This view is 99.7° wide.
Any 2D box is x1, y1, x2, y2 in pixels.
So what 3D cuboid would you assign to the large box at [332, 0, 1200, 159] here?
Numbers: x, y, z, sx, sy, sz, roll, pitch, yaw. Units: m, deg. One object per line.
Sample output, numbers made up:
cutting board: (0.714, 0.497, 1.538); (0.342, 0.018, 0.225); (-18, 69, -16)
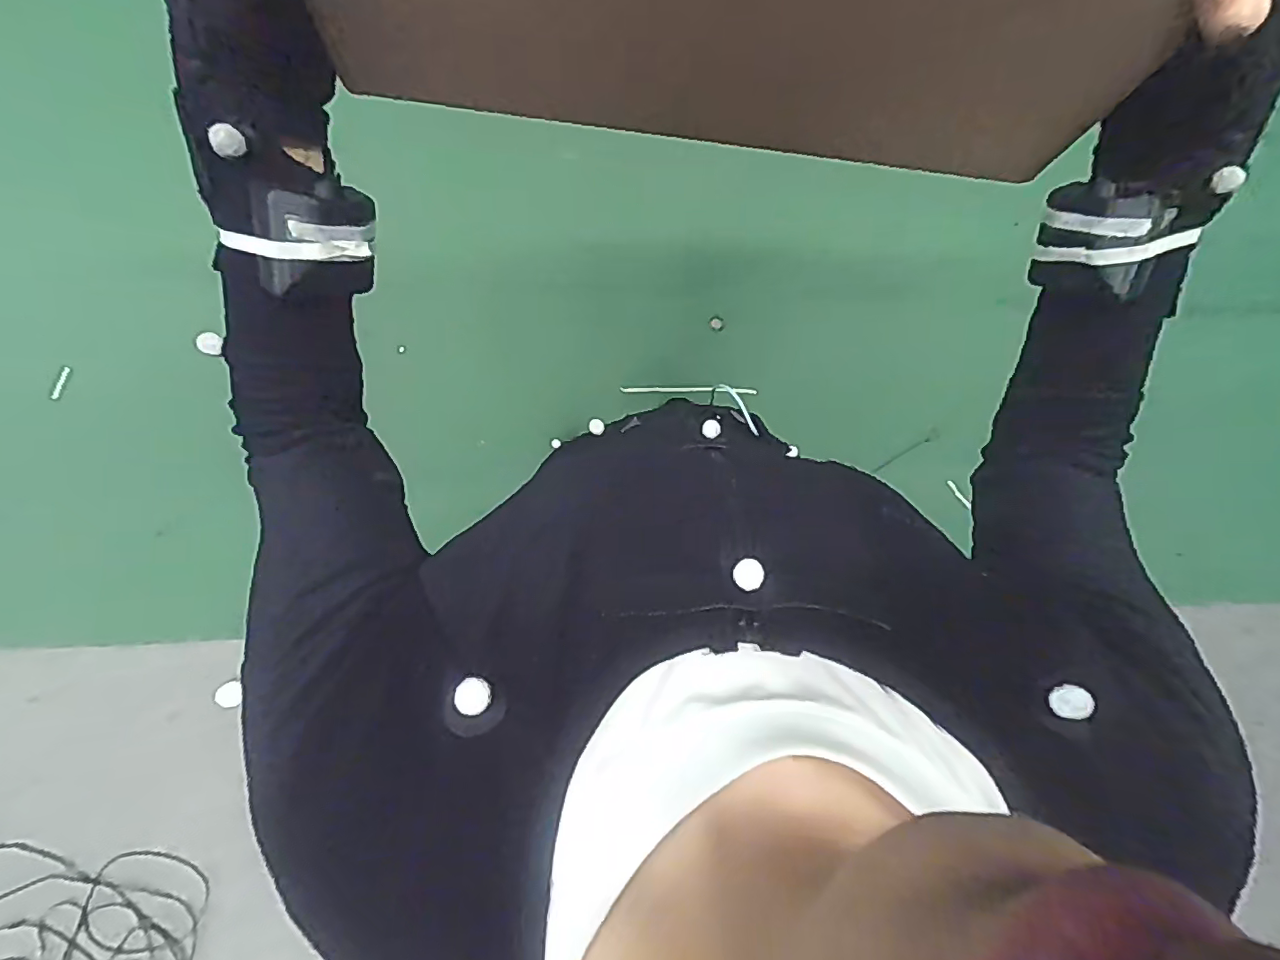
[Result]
large box: (0.068, -0.380, 0.197); (0.408, 0.320, 0.320); (4, 80, -7)
